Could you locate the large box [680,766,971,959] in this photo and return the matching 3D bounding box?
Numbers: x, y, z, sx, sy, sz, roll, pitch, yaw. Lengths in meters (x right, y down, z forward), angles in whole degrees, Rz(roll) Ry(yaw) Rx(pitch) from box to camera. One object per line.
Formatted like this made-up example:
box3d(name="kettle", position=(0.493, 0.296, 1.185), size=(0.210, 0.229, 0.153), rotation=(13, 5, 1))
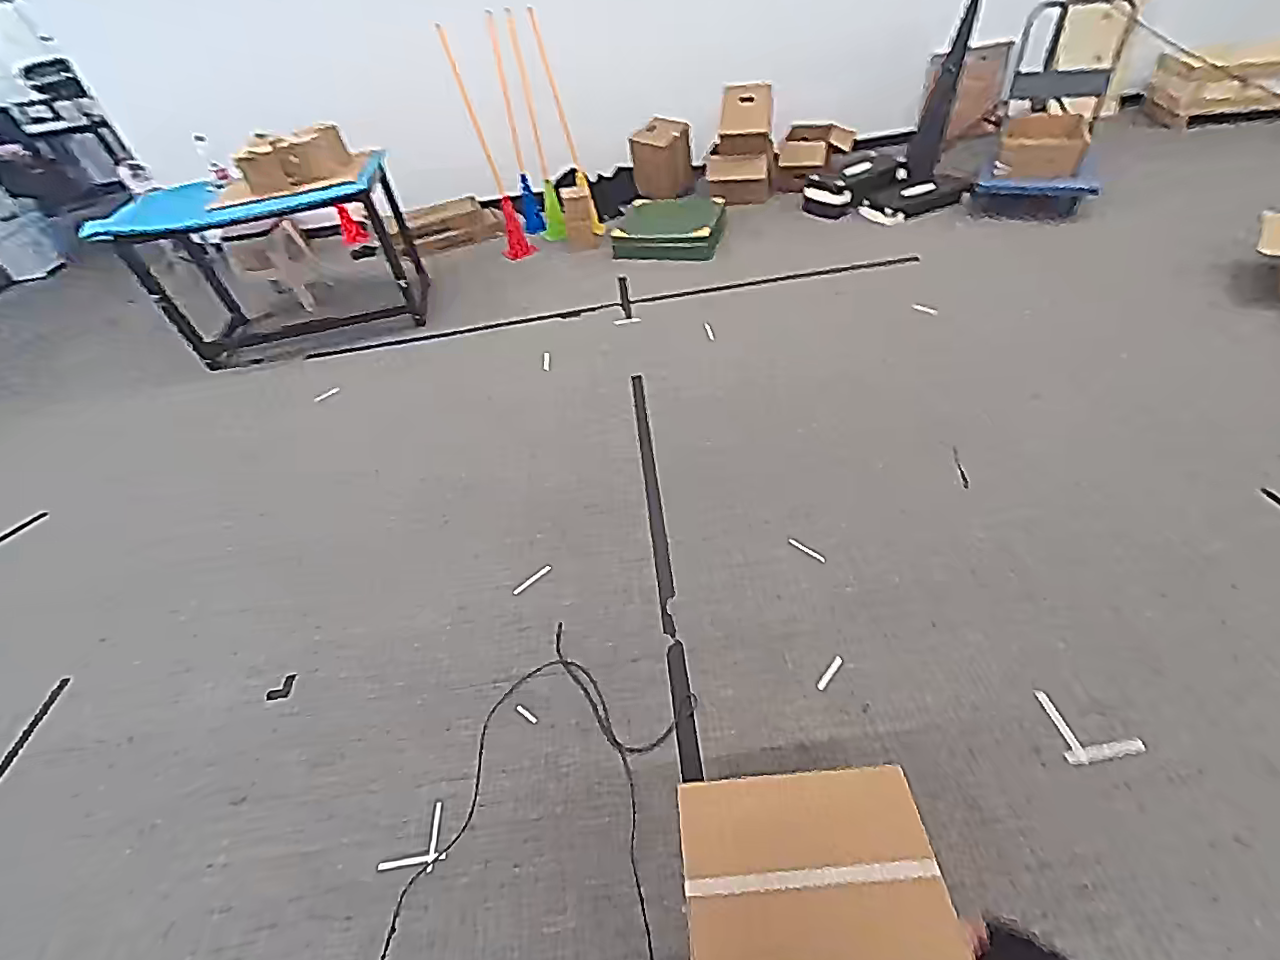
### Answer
box3d(name="large box", position=(0.293, 0.749, 0.971), size=(0.408, 0.320, 0.320), rotation=(-7, 45, 3))
